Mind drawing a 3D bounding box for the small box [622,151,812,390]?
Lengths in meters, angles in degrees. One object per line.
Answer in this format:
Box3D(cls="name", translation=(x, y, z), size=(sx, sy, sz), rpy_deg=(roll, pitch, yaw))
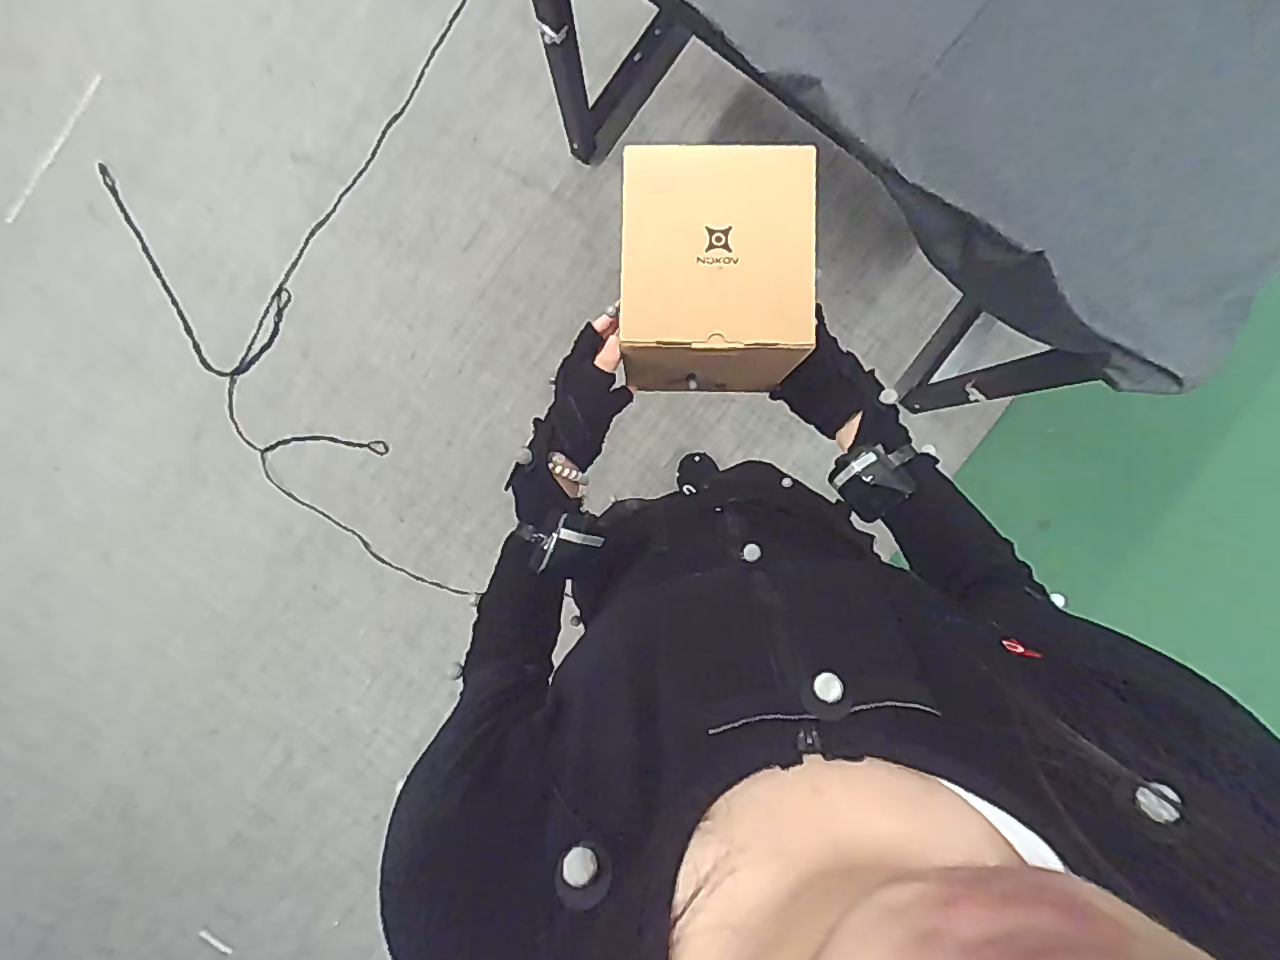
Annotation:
Box3D(cls="small box", translation=(0.068, -0.197, 0.551), size=(0.168, 0.176, 0.179), rpy_deg=(1, 88, 1))
